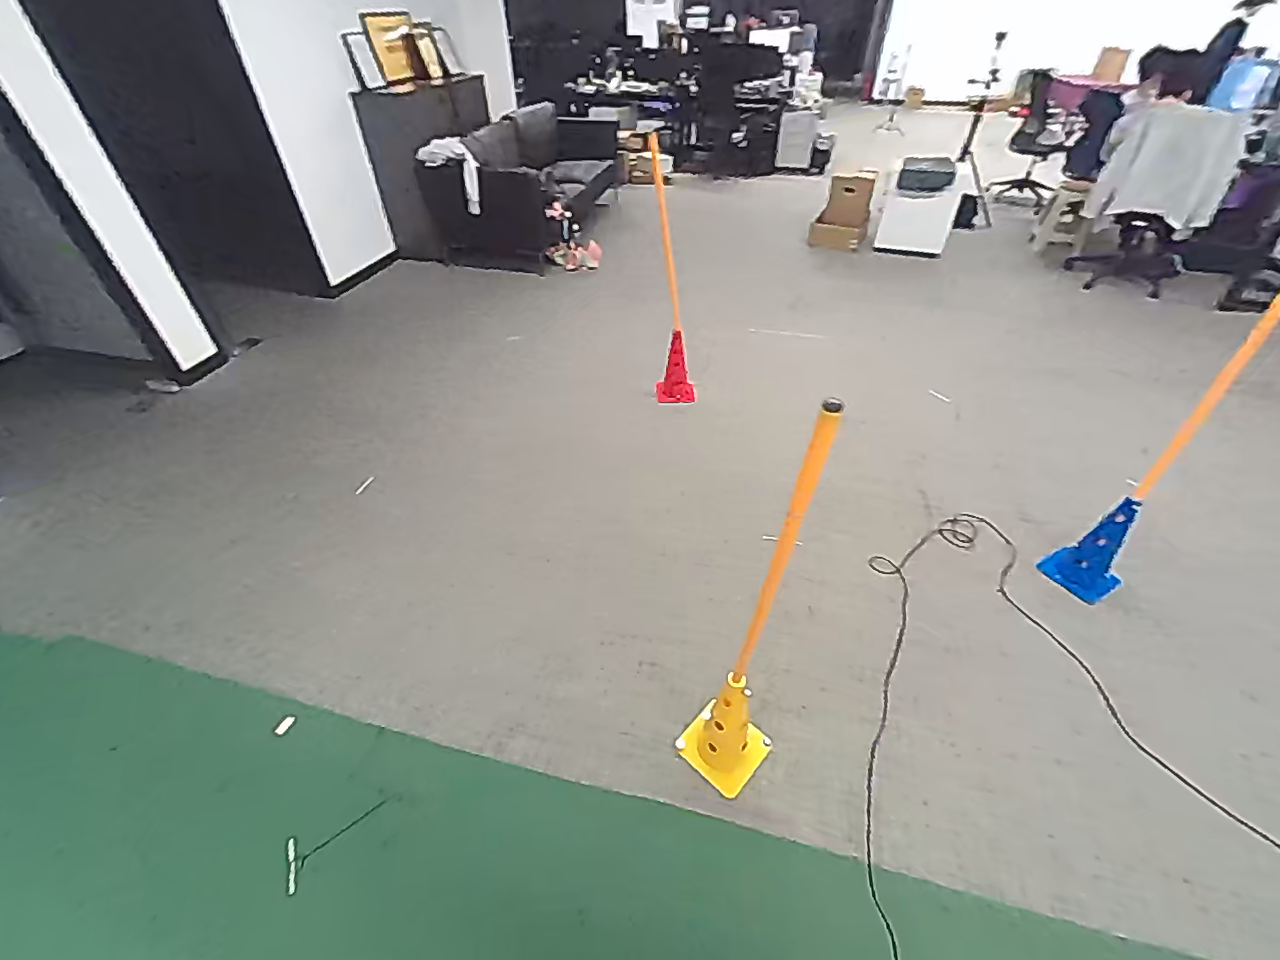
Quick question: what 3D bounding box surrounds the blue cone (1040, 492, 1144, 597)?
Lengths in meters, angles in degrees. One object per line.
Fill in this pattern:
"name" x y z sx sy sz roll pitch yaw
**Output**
"blue cone" 1.537 0.187 1.800 0.193 0.380 0.192 -20 44 -24
